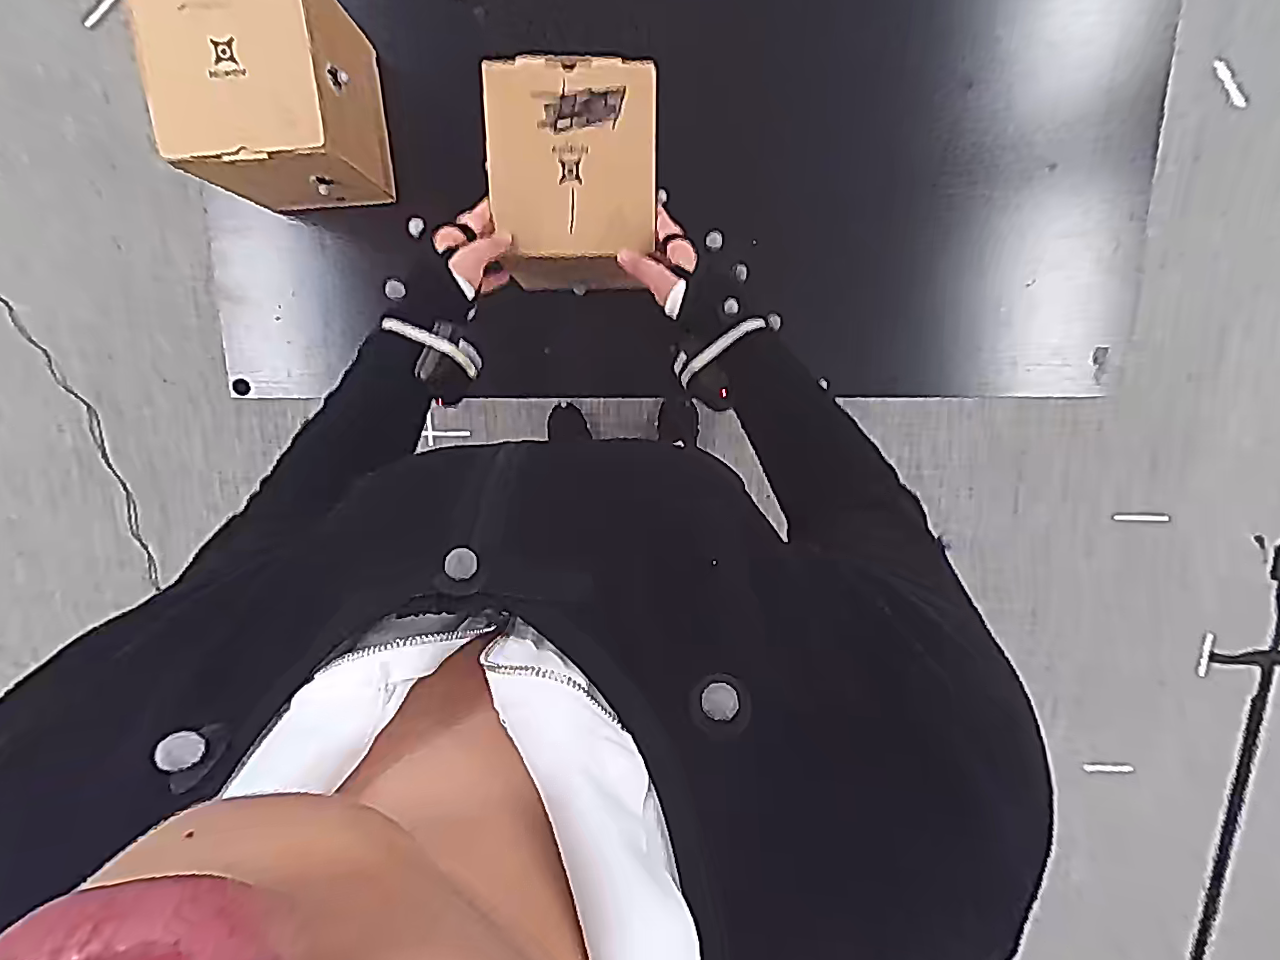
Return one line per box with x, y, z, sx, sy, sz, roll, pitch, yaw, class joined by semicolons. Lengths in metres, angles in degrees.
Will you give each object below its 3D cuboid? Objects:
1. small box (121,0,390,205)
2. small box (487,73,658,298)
-0.393;-0.413;0.586;0.168;0.176;0.179;-4;100;-1;small box
-0.067;-0.310;0.604;0.168;0.176;0.179;0;99;-1;small box
